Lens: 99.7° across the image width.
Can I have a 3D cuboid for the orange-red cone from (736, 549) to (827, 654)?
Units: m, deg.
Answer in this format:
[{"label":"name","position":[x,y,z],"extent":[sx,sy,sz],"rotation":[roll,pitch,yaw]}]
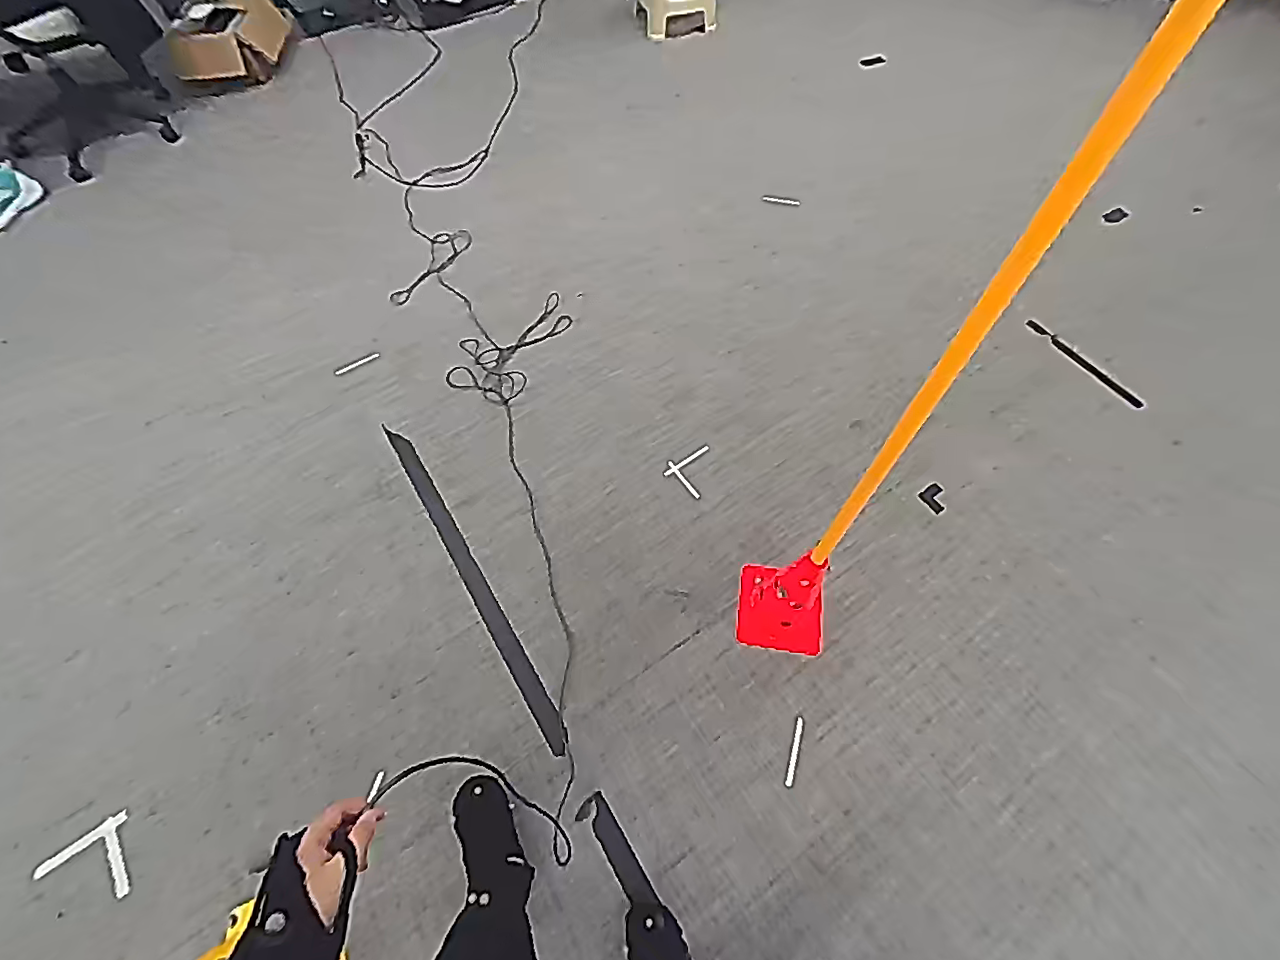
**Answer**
[{"label":"orange-red cone","position":[0.332,0.226,1.146],"extent":[0.198,0.360,0.199],"rotation":[9,64,7]}]
